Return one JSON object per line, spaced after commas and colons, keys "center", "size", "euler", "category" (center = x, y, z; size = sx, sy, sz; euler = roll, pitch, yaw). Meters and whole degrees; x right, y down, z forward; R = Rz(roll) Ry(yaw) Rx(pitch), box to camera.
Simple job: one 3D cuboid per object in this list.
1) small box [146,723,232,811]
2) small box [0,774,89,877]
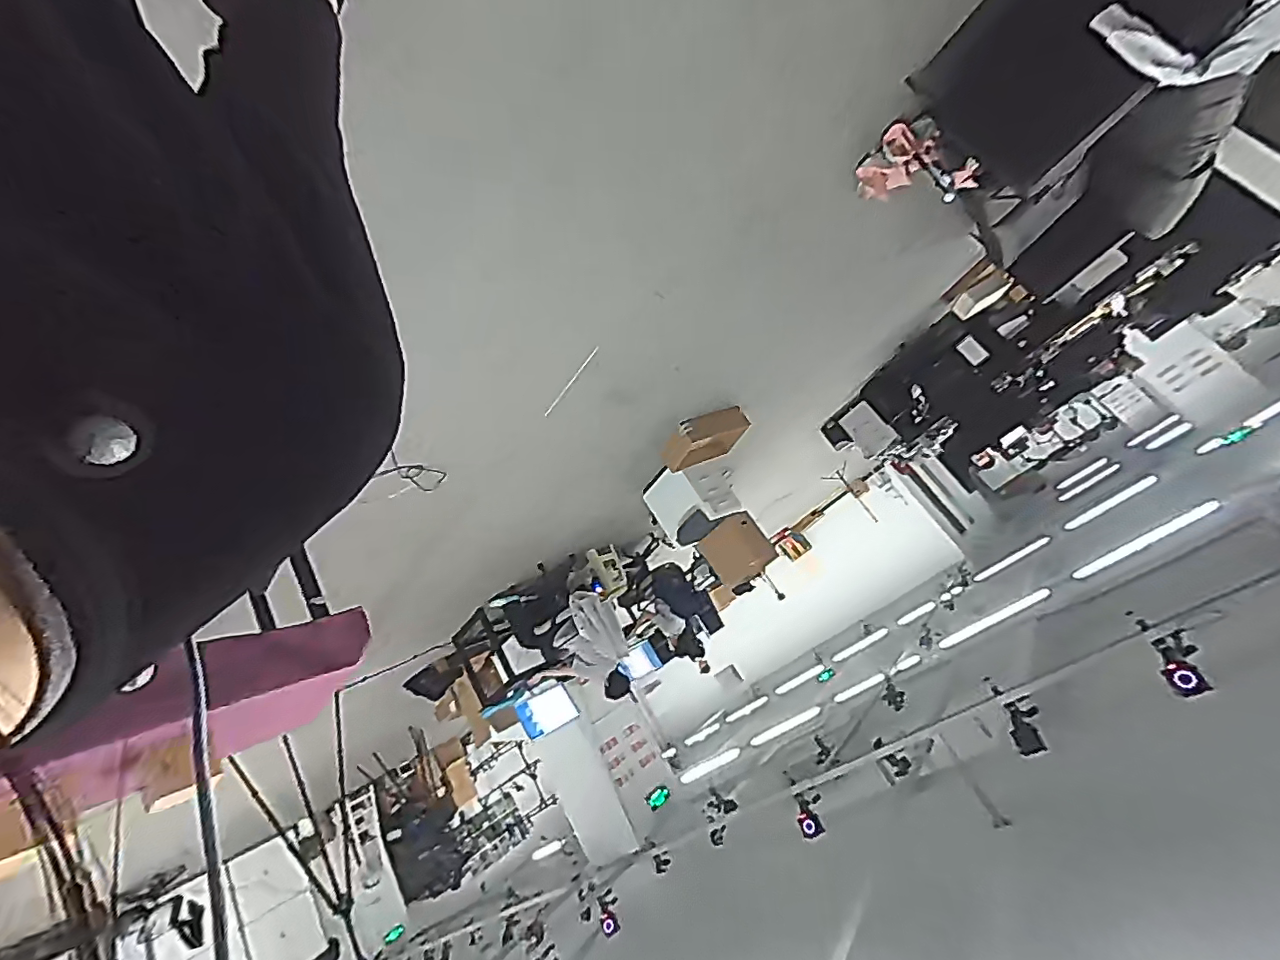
{"center": [-1.494, 0.942, 1.785], "size": [0.168, 0.176, 0.179], "euler": [-44, 159, 29], "category": "small box"}
{"center": [-1.688, 0.958, 1.512], "size": [0.179, 0.176, 0.168], "euler": [-43, 159, 28], "category": "small box"}
